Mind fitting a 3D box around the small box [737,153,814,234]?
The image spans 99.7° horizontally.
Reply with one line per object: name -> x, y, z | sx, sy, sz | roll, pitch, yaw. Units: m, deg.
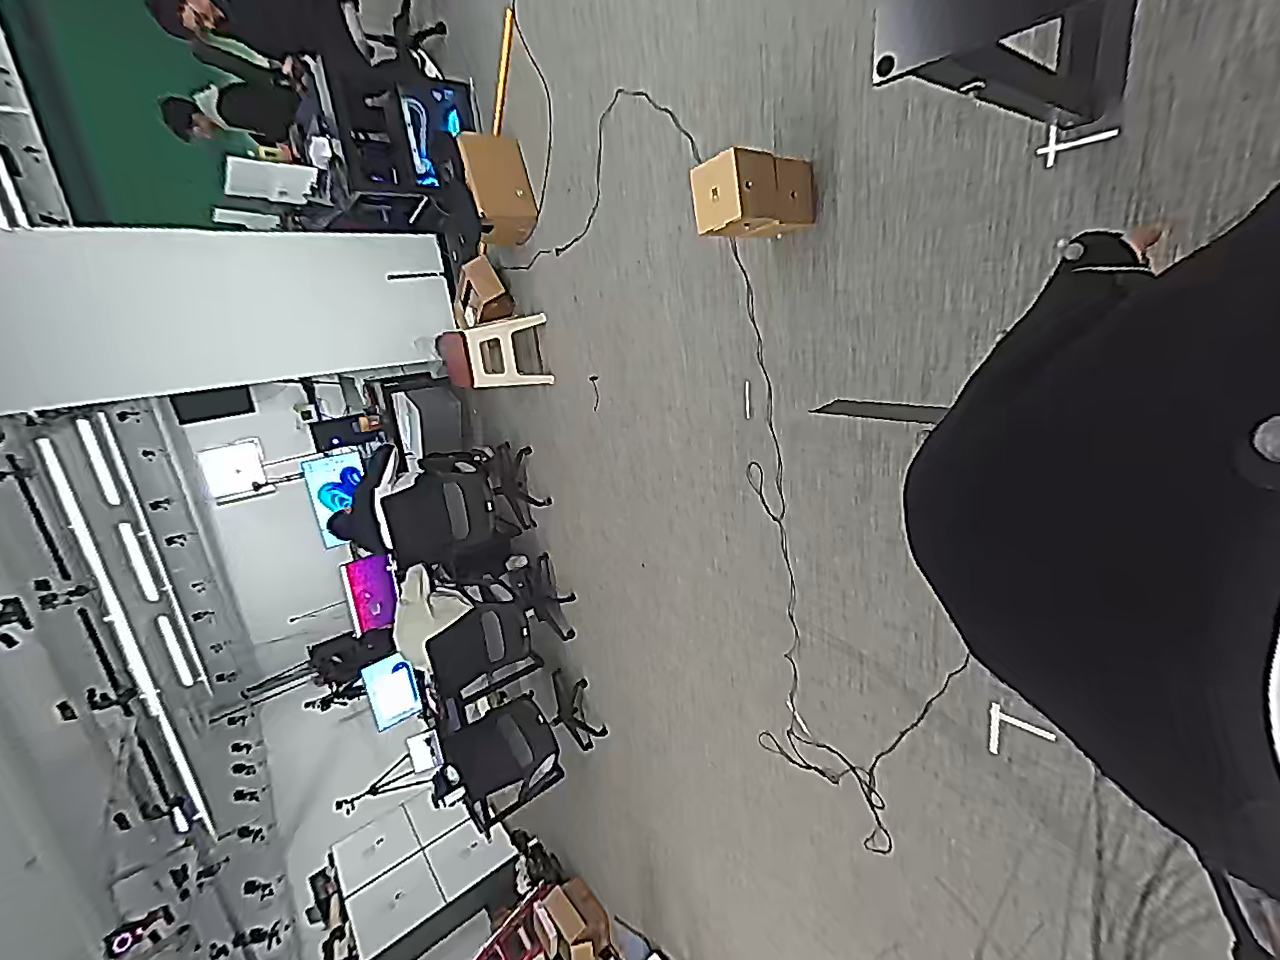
small box -> 0.399, -0.840, 1.604 | 0.168, 0.176, 0.179 | 11, 114, 51

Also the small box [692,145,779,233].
small box -> 0.271, -0.804, 1.510 | 0.168, 0.176, 0.179 | 5, 108, 51
